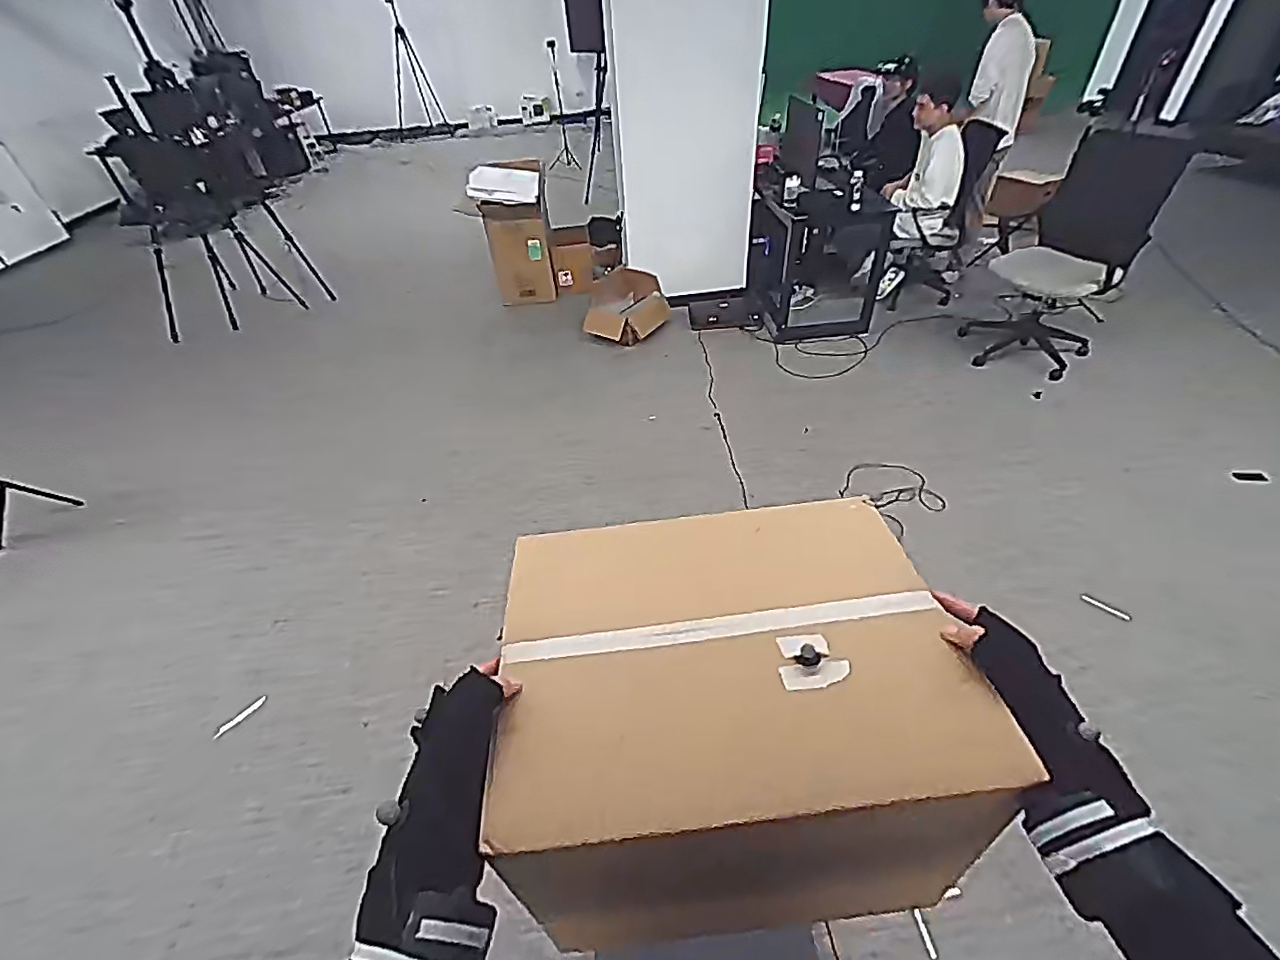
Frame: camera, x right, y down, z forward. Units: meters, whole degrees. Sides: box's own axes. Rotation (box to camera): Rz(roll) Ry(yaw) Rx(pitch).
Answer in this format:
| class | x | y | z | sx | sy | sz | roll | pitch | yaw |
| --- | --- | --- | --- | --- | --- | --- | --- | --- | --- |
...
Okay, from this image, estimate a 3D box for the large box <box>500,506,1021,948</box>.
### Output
| class | x | y | z | sx | sy | sz | roll | pitch | yaw |
| --- | --- | --- | --- | --- | --- | --- | --- | --- | --- |
| large box | 0.089 | 0.264 | 0.605 | 0.408 | 0.320 | 0.320 | -7 | 39 | -1 |
